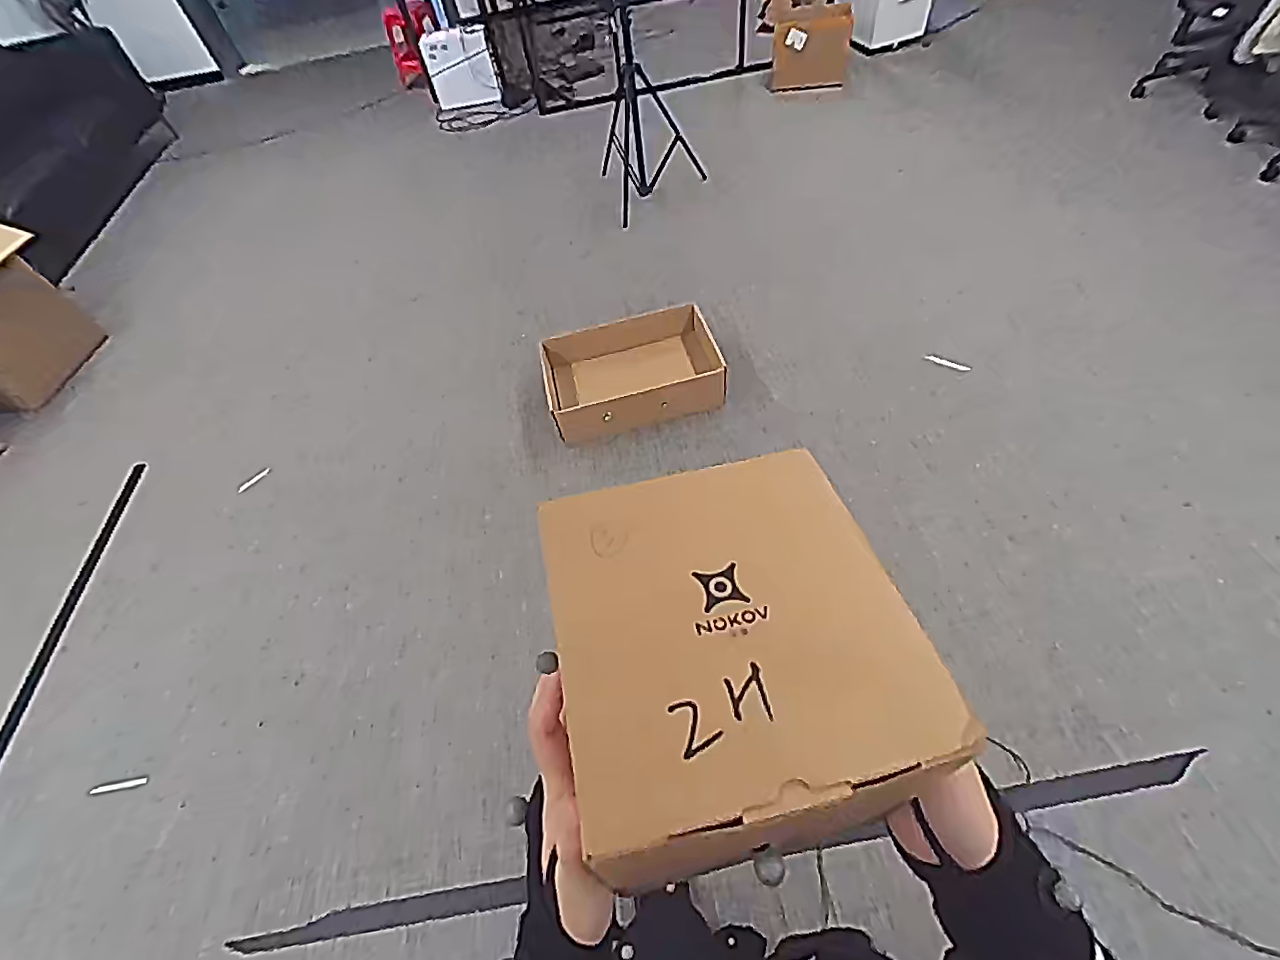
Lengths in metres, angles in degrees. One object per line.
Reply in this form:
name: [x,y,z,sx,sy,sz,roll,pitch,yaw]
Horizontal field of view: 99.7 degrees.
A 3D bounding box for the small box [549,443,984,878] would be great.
small box: [0.046,0.108,0.324,0.168,0.176,0.179,-12,50,-6]
